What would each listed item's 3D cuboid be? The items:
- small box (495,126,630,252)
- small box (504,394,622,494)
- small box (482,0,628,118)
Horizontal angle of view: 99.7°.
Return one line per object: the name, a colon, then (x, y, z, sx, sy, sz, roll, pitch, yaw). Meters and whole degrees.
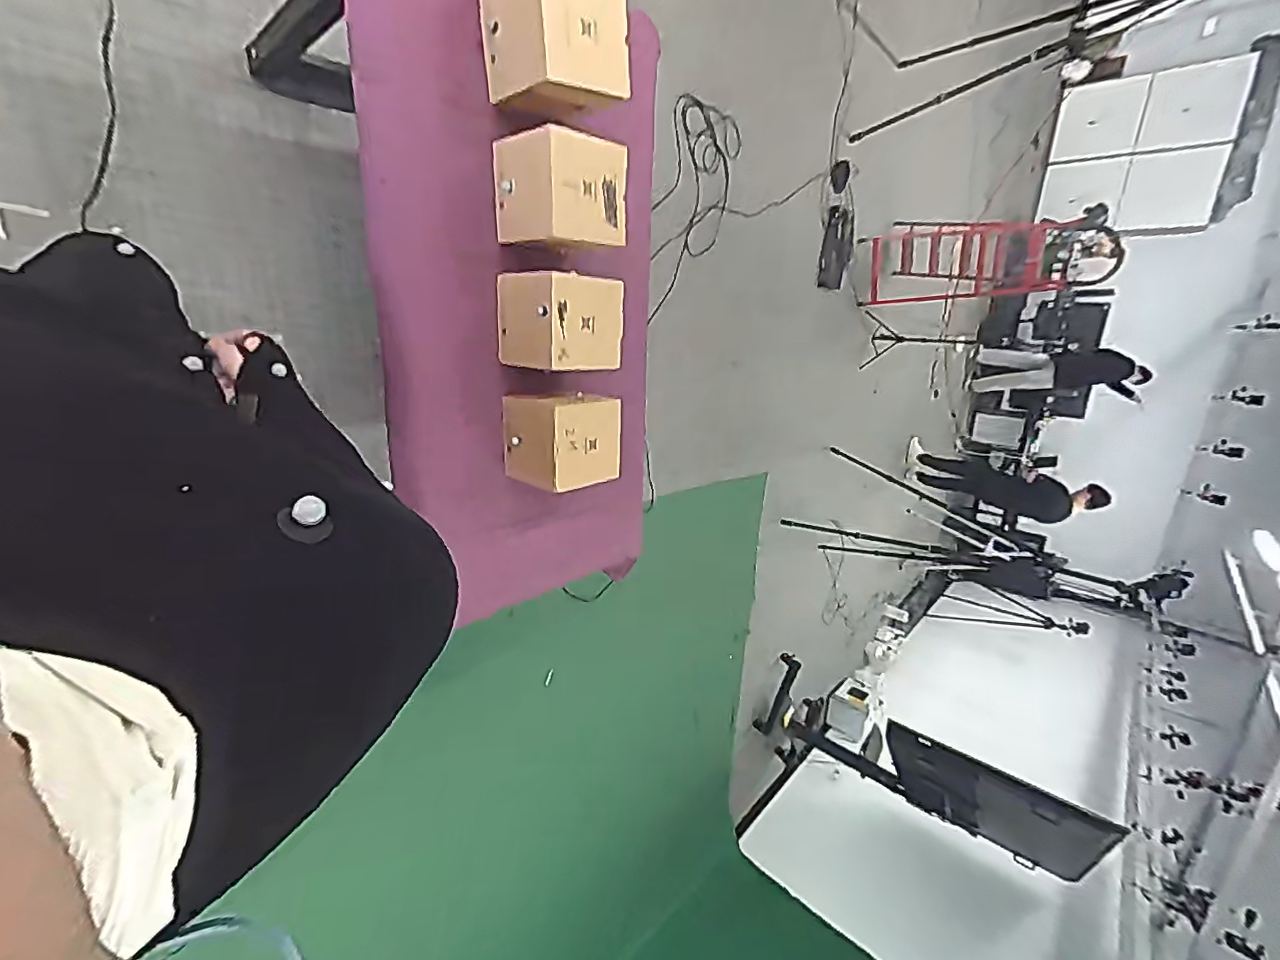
small box: (-0.139, -0.511, 0.976, 0.179, 0.176, 0.168, -16, 114, -43)
small box: (-0.158, -0.082, 1.102, 0.179, 0.176, 0.168, -14, 112, -45)
small box: (-0.139, -0.726, 0.903, 0.179, 0.176, 0.168, -21, 118, -42)
